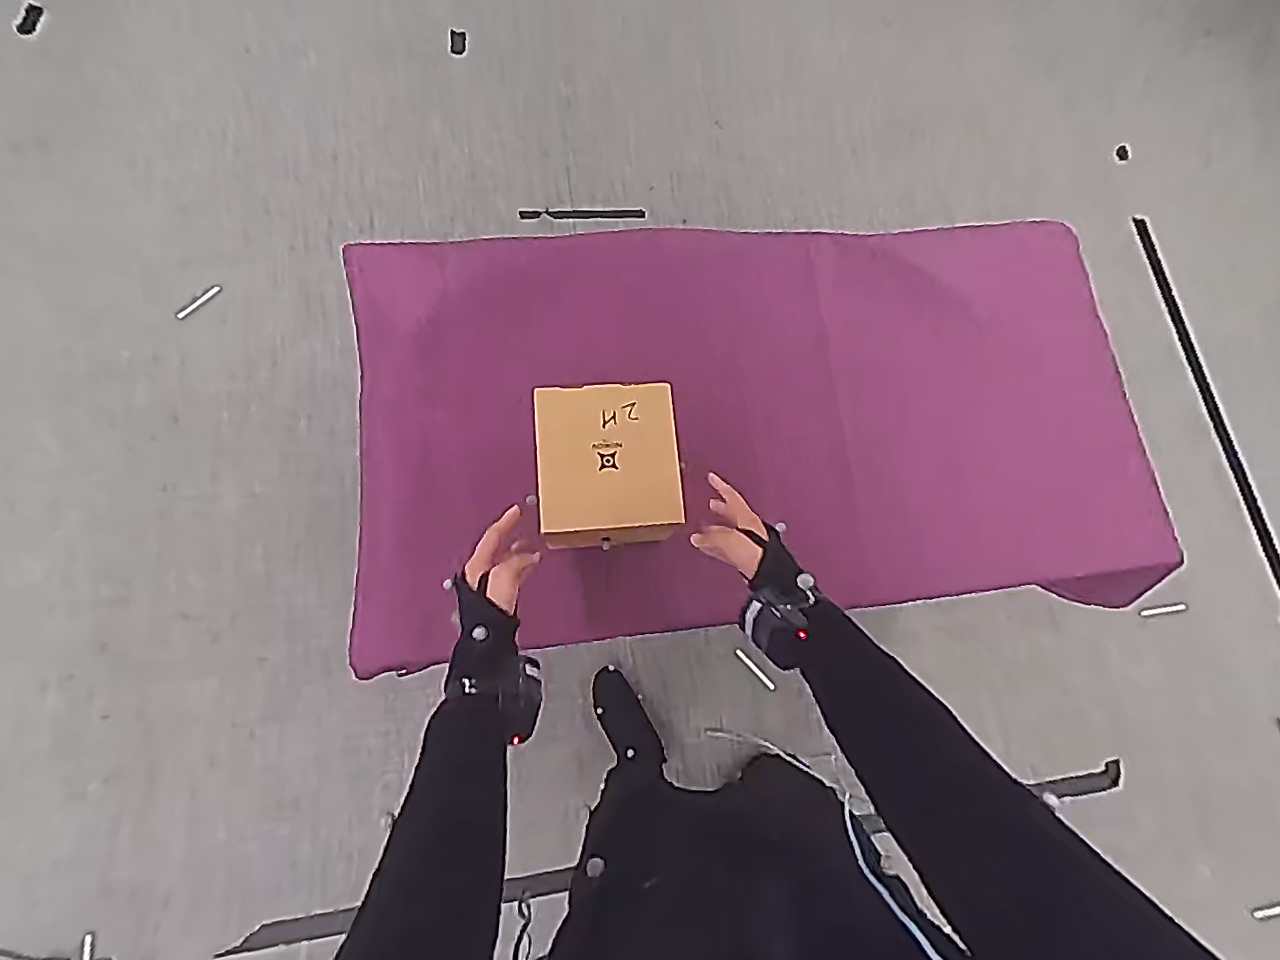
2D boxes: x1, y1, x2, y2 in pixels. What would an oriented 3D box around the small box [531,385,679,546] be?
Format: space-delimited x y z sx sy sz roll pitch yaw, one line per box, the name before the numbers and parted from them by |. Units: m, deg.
small box | -0.049 -0.009 0.701 0.168 0.176 0.179 -3 77 -7
